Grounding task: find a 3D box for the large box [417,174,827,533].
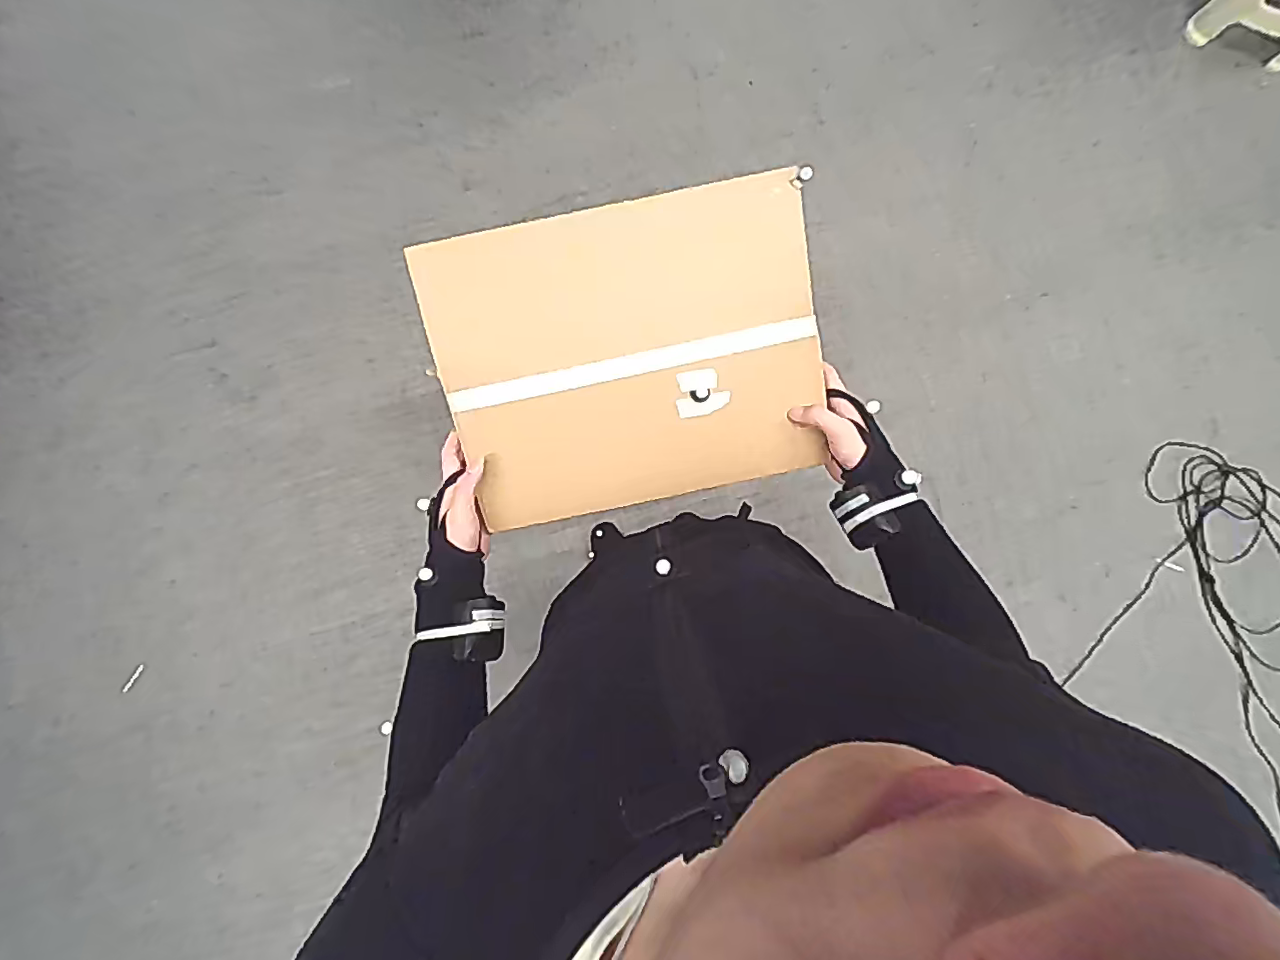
[{"bbox_3d":[-0.017,-0.161,0.735,0.408,0.320,0.320,-13,105,-1],"label":"large box"}]
